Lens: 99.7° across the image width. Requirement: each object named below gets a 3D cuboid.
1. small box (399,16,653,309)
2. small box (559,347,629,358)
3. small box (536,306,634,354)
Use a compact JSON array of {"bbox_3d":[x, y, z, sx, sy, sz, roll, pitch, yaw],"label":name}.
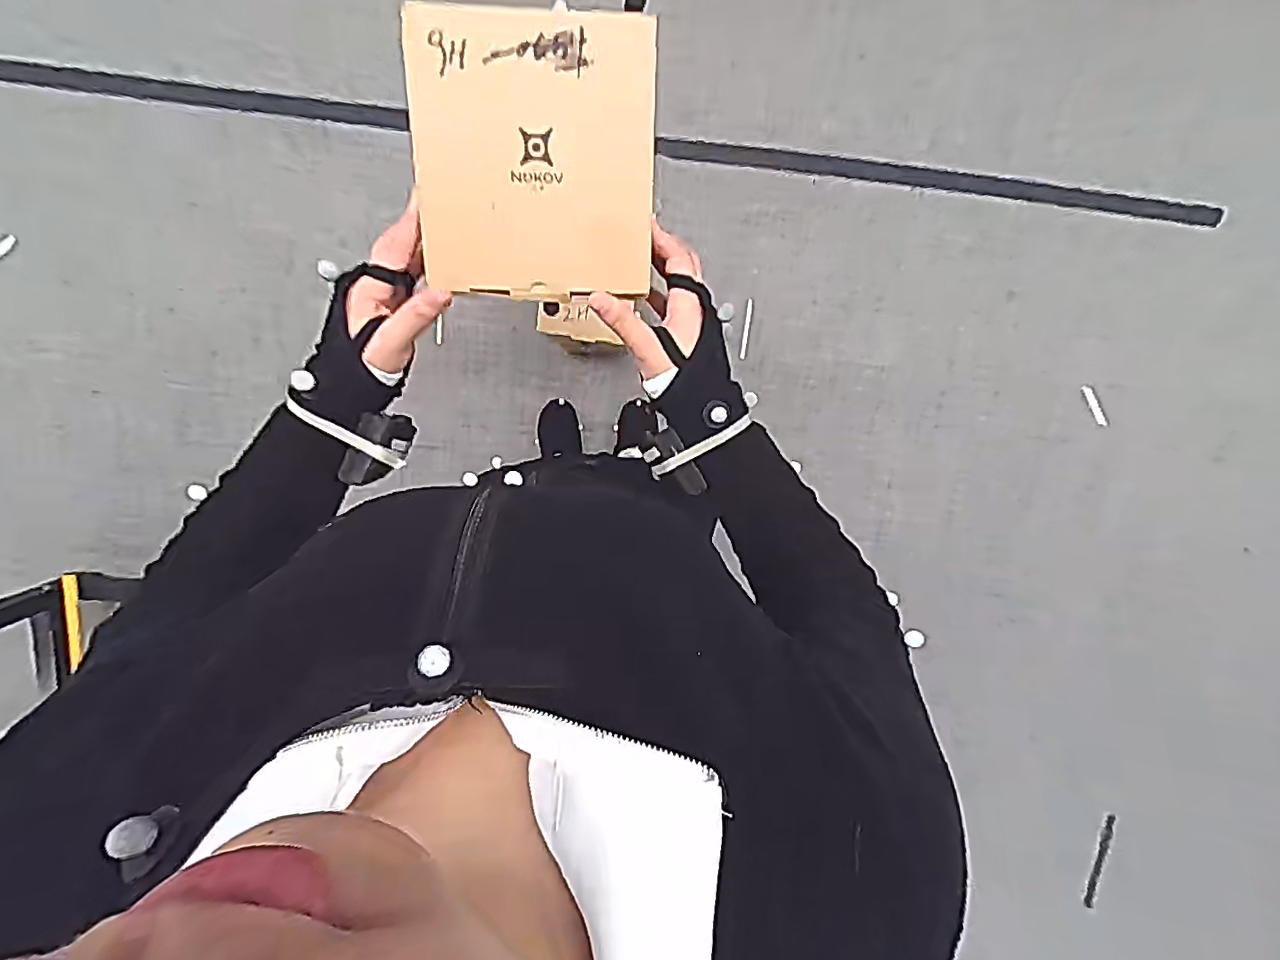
[{"bbox_3d":[-0.076,-0.238,0.449,0.168,0.176,0.179,0,108,-2],"label":"small box"},{"bbox_3d":[-0.110,-0.397,1.337,0.168,0.176,0.179,1,102,-2],"label":"small box"},{"bbox_3d":[-0.093,-0.339,1.012,0.168,0.176,0.179,8,100,-3],"label":"small box"}]
